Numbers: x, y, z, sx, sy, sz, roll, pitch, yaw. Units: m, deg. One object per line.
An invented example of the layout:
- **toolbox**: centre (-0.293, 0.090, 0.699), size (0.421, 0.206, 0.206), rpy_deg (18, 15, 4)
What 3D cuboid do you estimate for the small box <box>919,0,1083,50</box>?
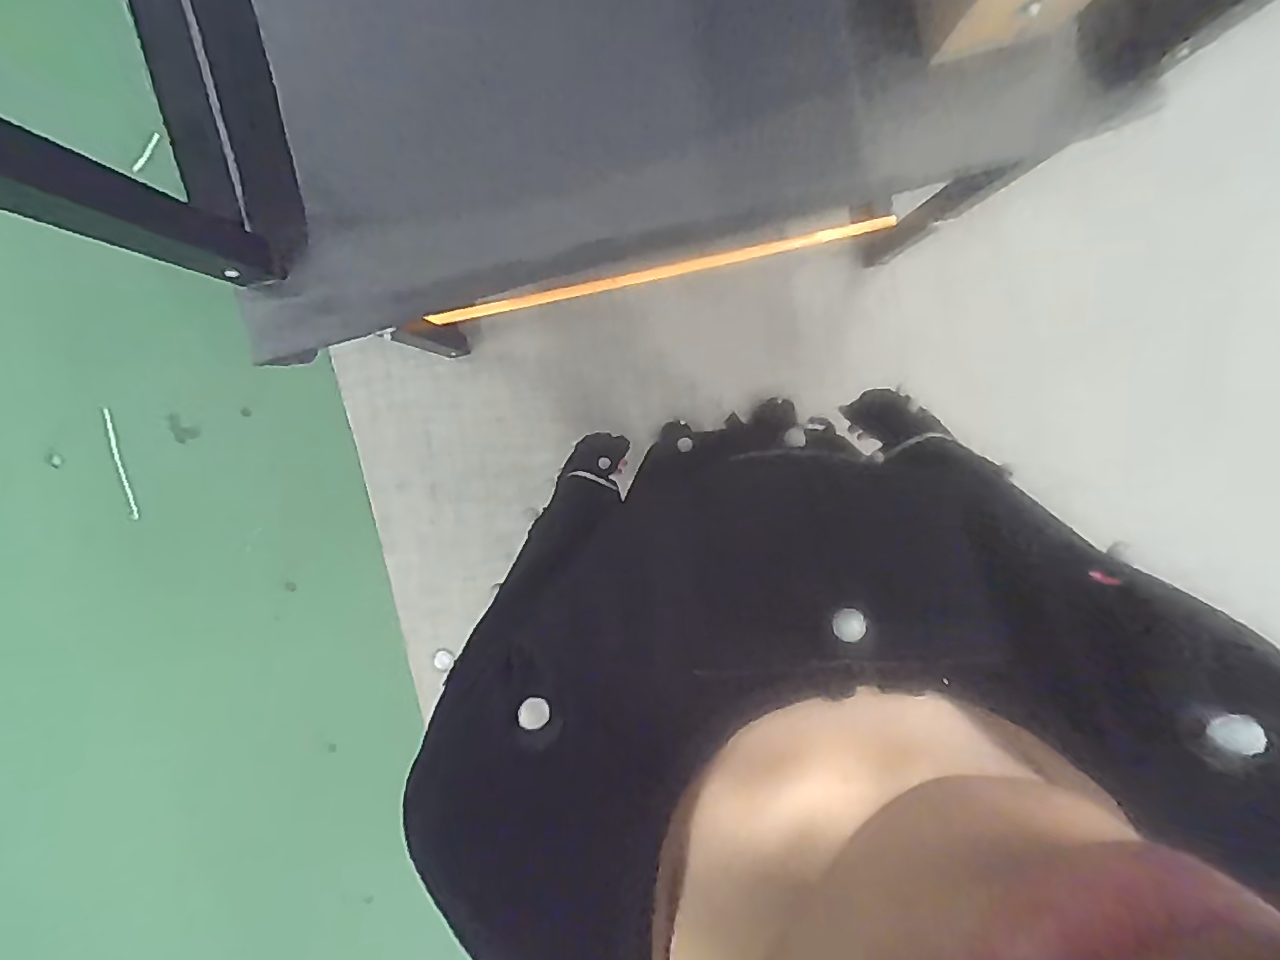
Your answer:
- **small box**: centre (0.419, -0.613, 0.583), size (0.168, 0.176, 0.179), rpy_deg (-13, 95, 3)
